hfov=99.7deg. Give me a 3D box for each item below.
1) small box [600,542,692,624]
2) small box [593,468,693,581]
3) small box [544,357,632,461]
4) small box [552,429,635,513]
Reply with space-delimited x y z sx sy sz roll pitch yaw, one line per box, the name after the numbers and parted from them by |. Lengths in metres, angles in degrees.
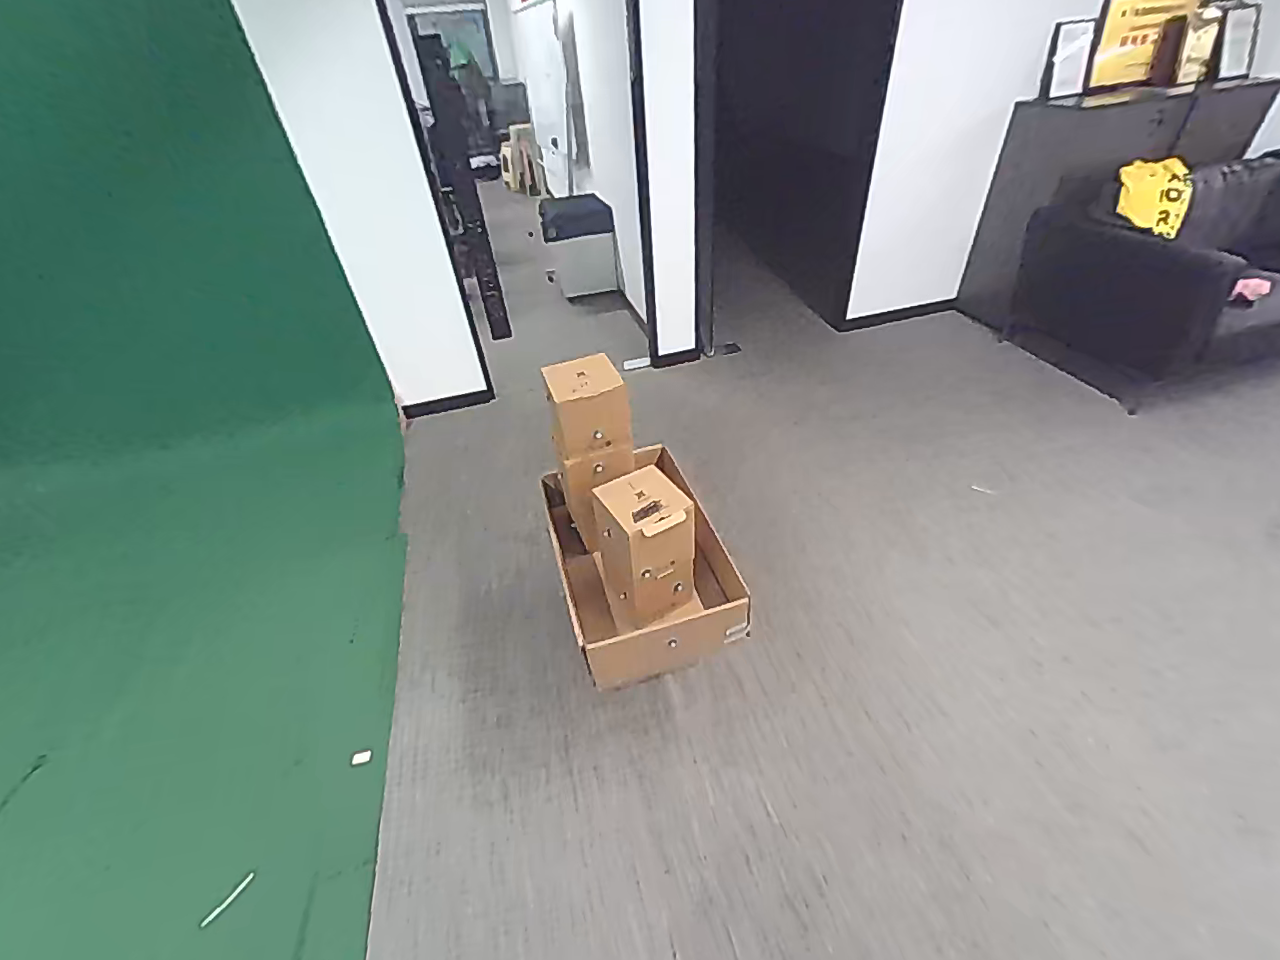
0.018 0.231 1.341 0.168 0.176 0.179 -23 42 -20 | small box
0.010 0.107 1.234 0.168 0.176 0.179 -22 42 -21 | small box
-0.127 -0.174 1.325 0.168 0.176 0.179 -16 42 -11 | small box
-0.117 -0.041 1.423 0.179 0.176 0.168 -18 42 -13 | small box
